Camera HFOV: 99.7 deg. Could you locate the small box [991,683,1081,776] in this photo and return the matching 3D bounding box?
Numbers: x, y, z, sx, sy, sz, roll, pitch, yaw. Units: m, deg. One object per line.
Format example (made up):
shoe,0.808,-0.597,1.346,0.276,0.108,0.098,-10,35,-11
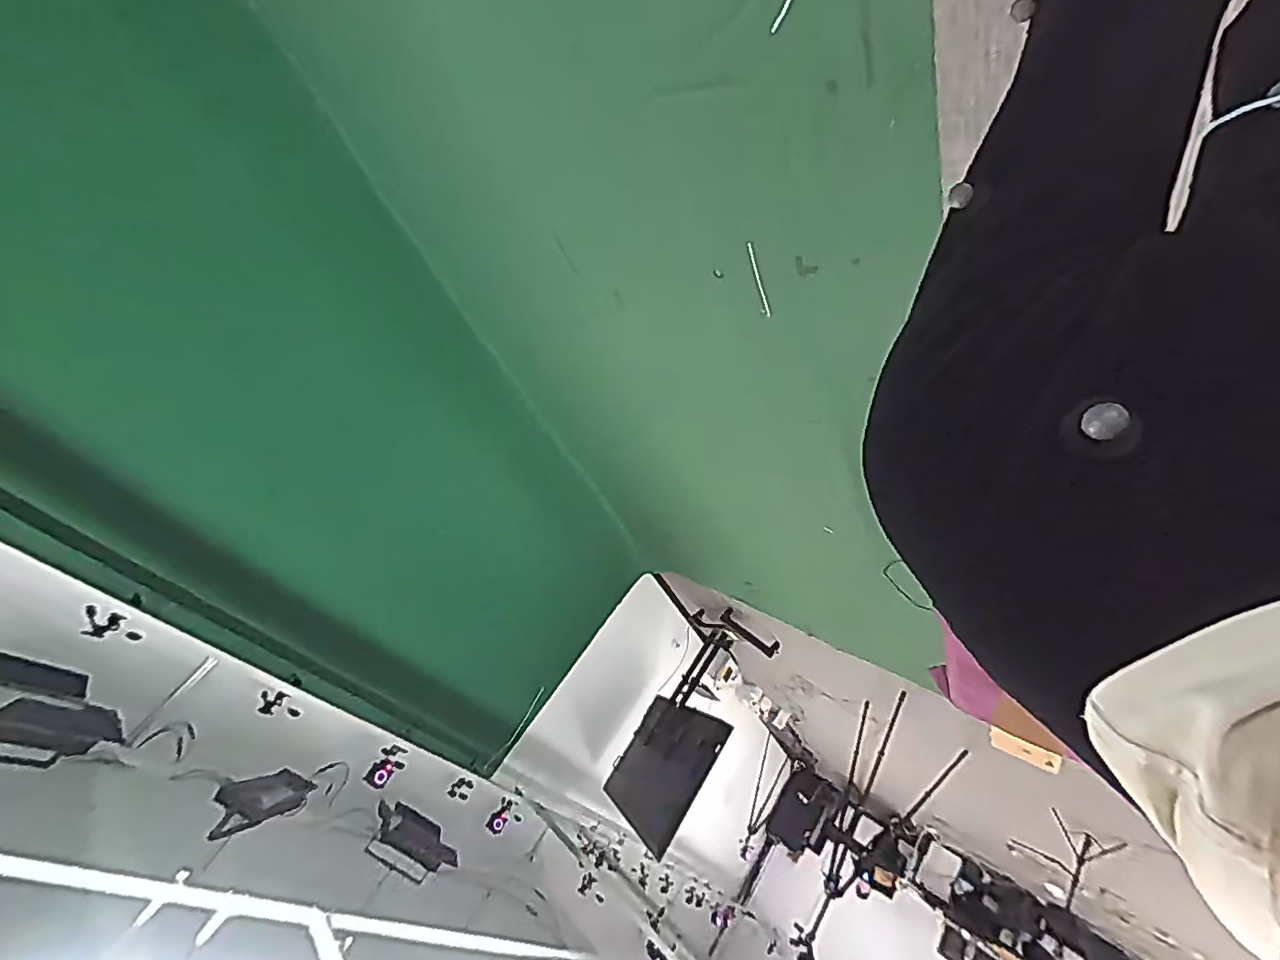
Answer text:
small box,1.177,0.734,1.612,0.179,0.176,0.168,17,150,42
